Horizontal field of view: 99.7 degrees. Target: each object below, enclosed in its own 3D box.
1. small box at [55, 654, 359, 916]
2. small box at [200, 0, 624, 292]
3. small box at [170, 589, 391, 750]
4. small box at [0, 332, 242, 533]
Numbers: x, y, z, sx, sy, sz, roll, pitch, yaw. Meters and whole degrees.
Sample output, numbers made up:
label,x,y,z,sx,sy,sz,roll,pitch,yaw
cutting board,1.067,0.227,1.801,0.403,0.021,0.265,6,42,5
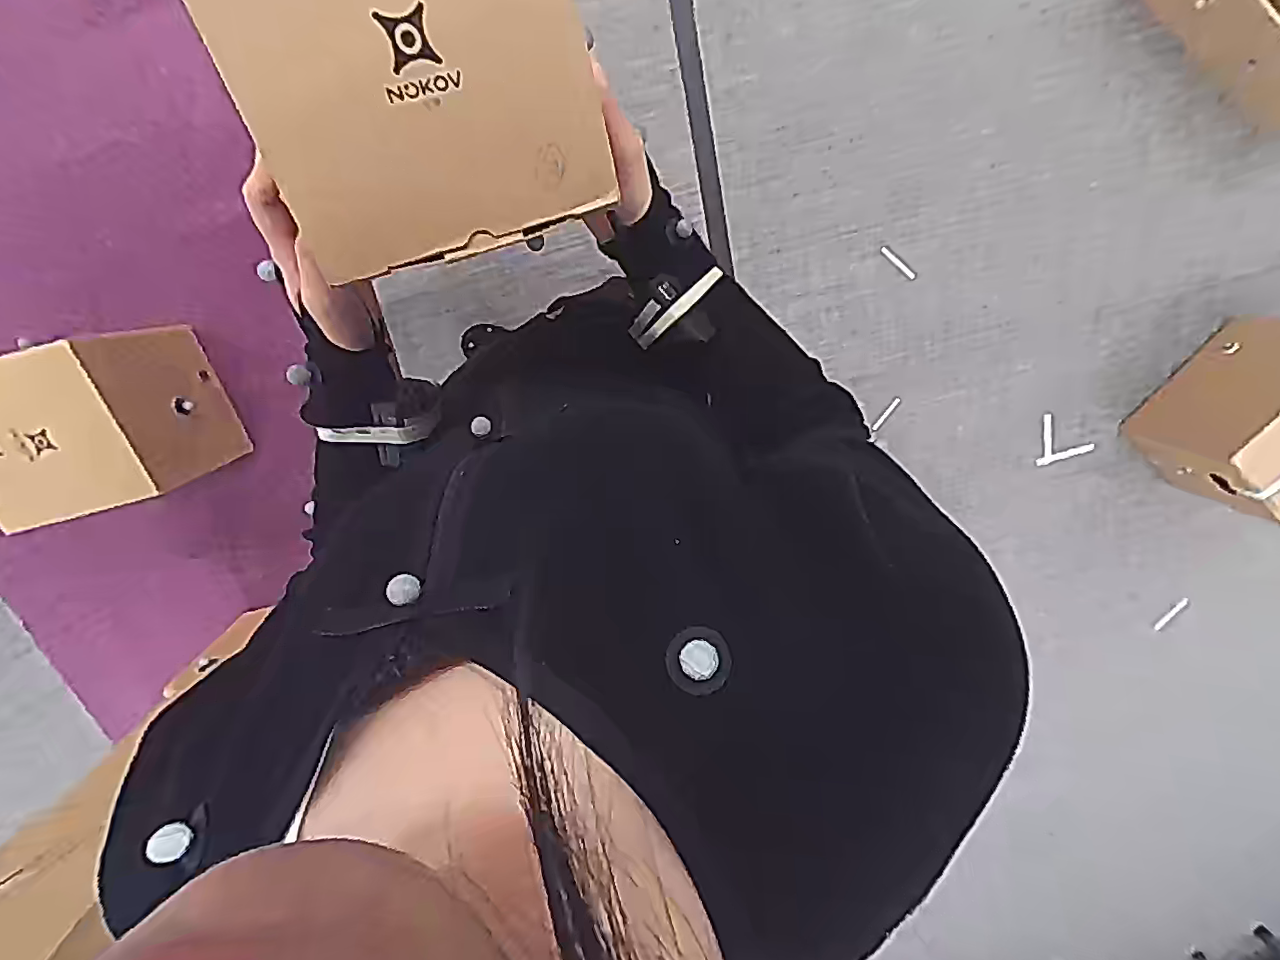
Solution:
label,x,y,z,sx,sy,sz,roll,pitch,yaw
small box,-0.447,0.324,0.603,0.179,0.176,0.168,-19,110,3
small box,-0.125,-0.232,0.326,0.168,0.176,0.179,-21,119,-9
small box,-0.476,0.276,0.758,0.179,0.176,0.168,-15,111,2
small box,-0.607,-0.065,0.620,0.179,0.176,0.168,-14,110,2
